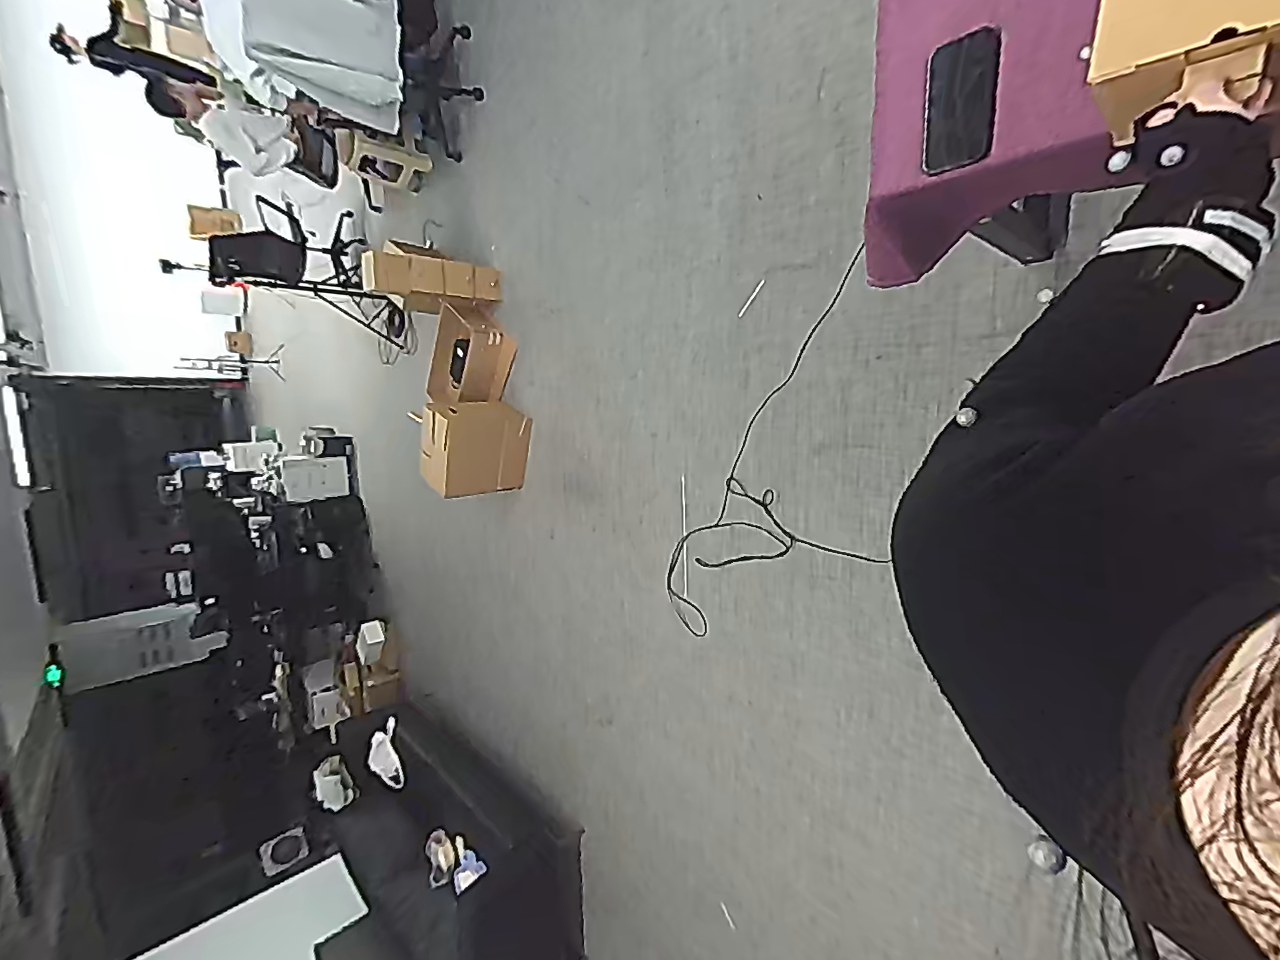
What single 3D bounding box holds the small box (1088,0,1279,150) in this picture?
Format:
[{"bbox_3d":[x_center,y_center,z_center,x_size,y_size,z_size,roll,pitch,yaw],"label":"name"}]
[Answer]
[{"bbox_3d":[0.513,-0.423,0.463,0.168,0.176,0.179,13,104,45],"label":"small box"}]
